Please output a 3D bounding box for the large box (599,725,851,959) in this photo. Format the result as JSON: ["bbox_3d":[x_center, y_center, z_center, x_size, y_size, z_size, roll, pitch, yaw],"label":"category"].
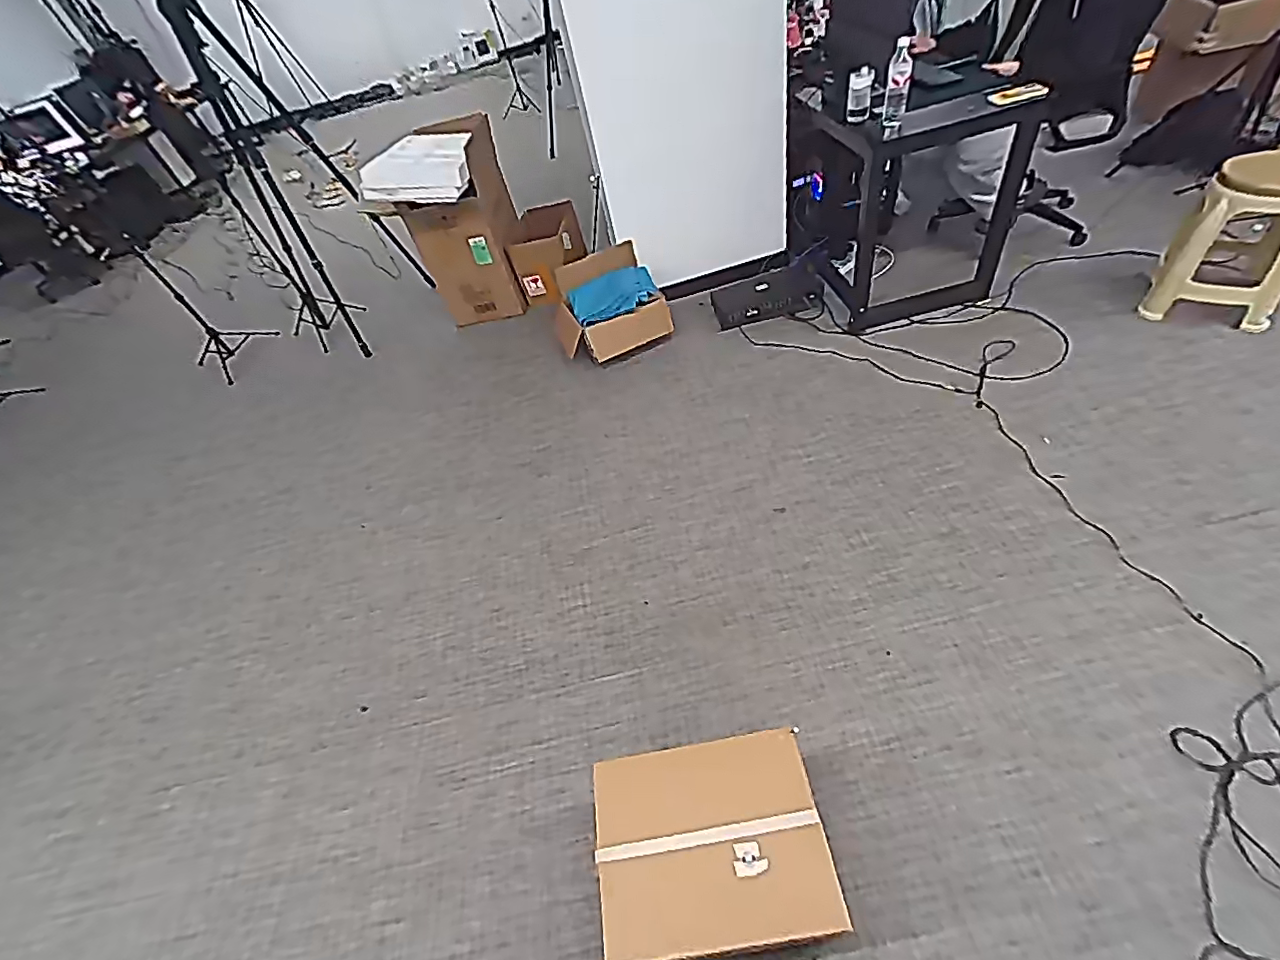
[{"bbox_3d":[0.154,0.735,1.080,0.408,0.320,0.320,-12,47,3],"label":"large box"}]
